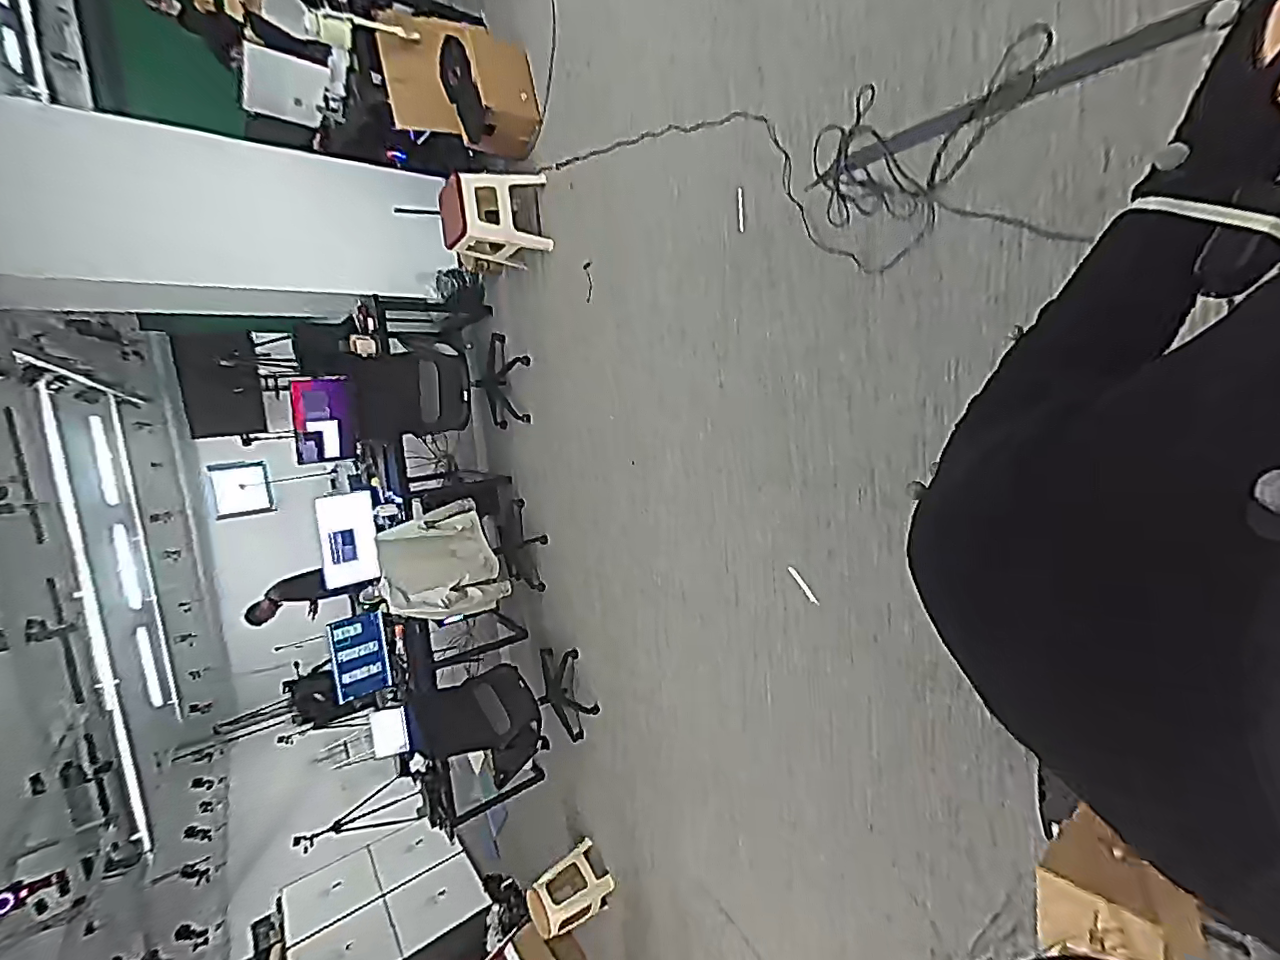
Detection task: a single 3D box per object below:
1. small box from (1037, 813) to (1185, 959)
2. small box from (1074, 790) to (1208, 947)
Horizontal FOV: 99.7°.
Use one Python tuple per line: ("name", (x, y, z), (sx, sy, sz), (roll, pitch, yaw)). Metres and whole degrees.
("small box", (0.817, 0.733, 0.938), (0.168, 0.176, 0.179), (2, 100, 53))
("small box", (0.952, 0.705, 1.027), (0.168, 0.176, 0.179), (2, 101, 53))
